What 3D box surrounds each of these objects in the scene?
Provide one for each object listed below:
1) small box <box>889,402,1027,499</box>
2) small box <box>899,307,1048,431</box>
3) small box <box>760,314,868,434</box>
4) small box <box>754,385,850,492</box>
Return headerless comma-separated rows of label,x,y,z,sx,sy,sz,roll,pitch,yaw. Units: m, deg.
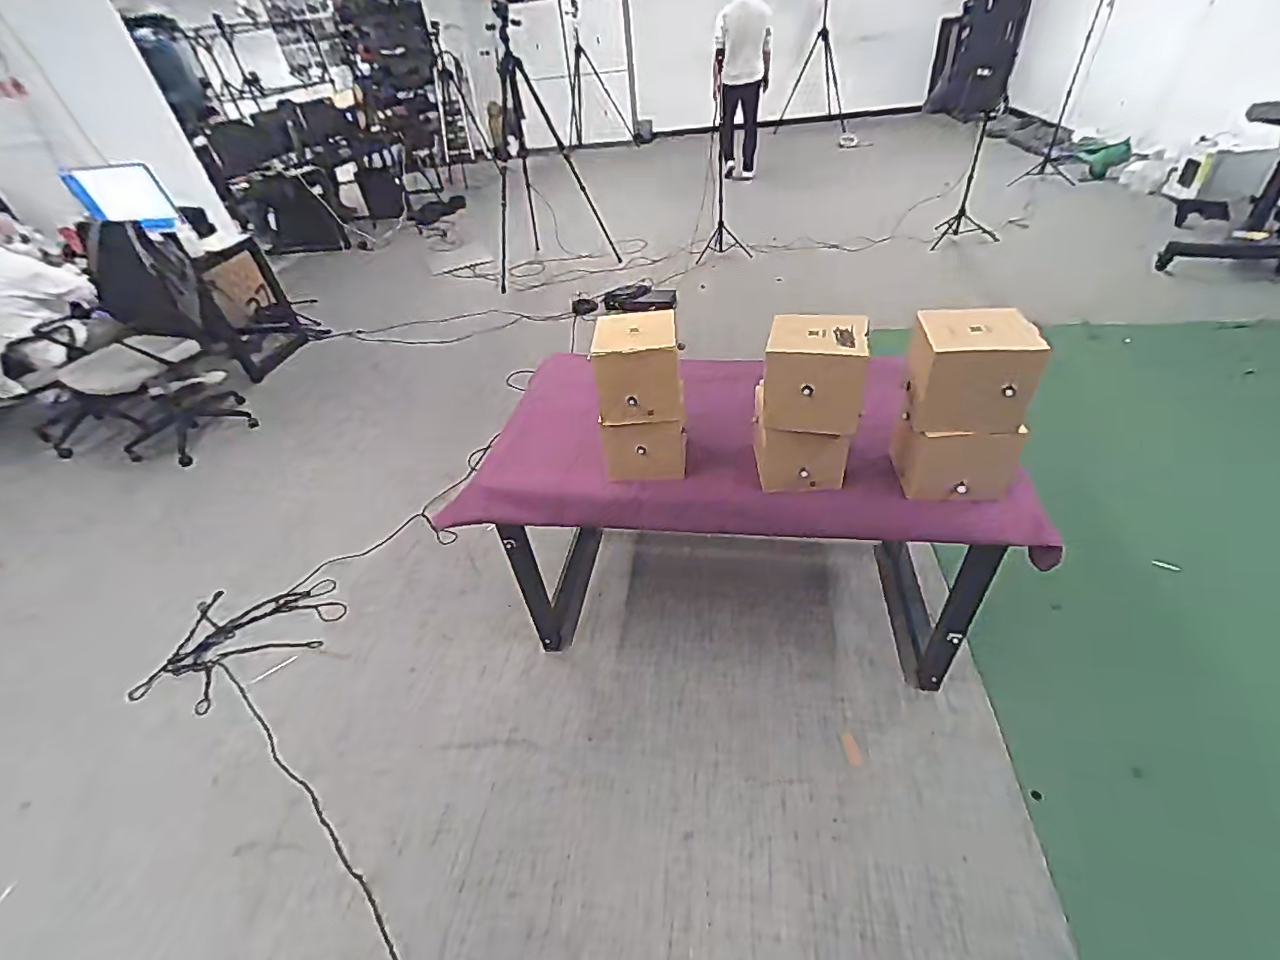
small box,0.625,-0.073,1.090,0.179,0.176,0.168,-2,40,8
small box,0.597,-0.202,0.993,0.179,0.176,0.168,2,41,13
small box,0.332,-0.204,1.039,0.179,0.176,0.168,6,41,18
small box,0.337,-0.094,1.164,0.168,0.176,0.179,-3,39,7
